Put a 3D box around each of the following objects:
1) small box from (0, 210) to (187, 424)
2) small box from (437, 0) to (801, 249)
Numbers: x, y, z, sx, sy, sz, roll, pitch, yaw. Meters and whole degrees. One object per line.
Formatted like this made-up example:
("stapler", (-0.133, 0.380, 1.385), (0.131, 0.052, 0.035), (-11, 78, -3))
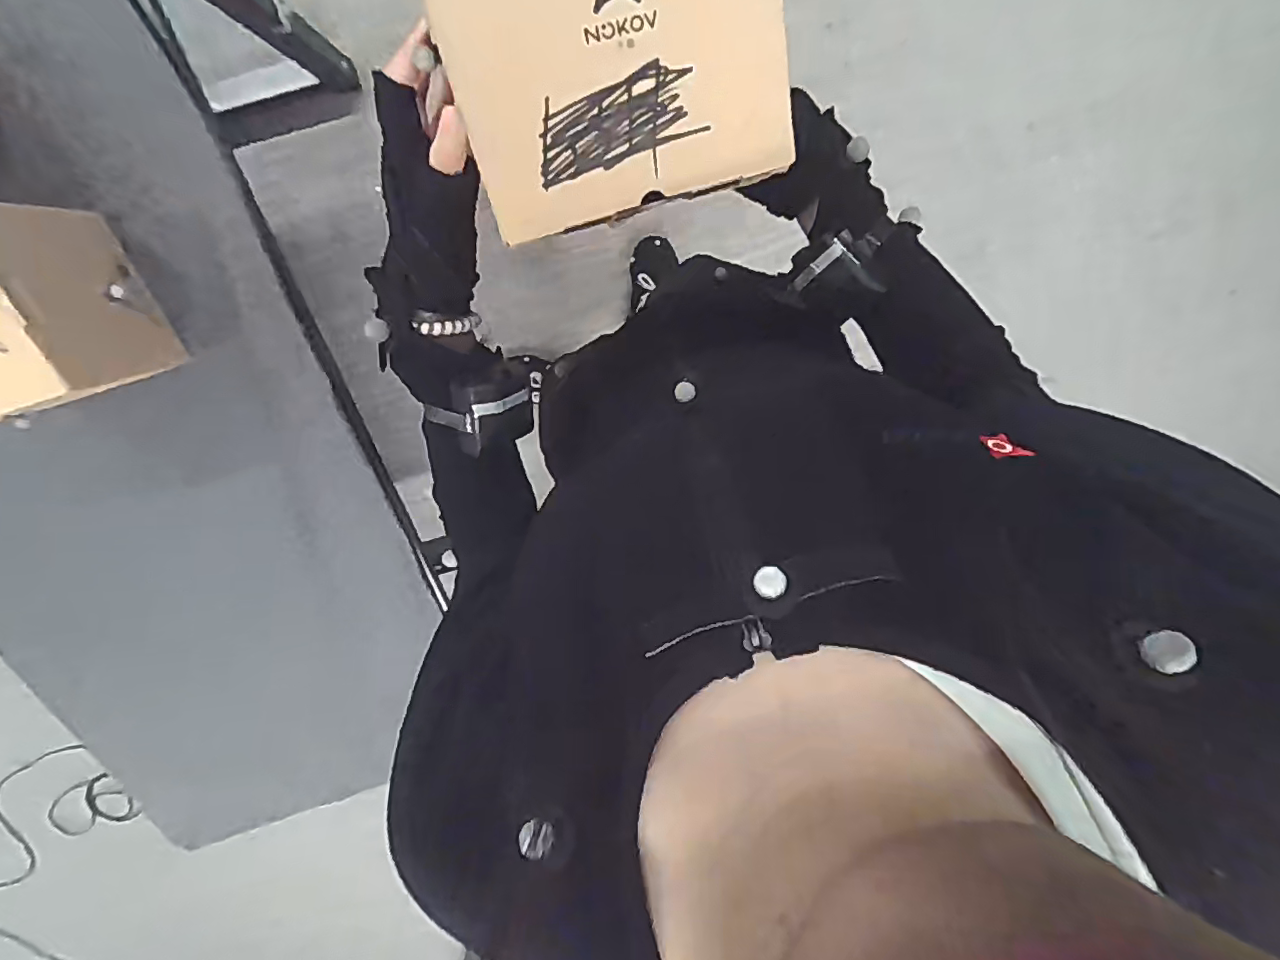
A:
("small box", (-0.620, -0.151, 0.532), (0.179, 0.176, 0.168), (-17, 113, 1))
("small box", (-0.024, -0.255, 0.317), (0.168, 0.176, 0.179), (-18, 121, -6))
